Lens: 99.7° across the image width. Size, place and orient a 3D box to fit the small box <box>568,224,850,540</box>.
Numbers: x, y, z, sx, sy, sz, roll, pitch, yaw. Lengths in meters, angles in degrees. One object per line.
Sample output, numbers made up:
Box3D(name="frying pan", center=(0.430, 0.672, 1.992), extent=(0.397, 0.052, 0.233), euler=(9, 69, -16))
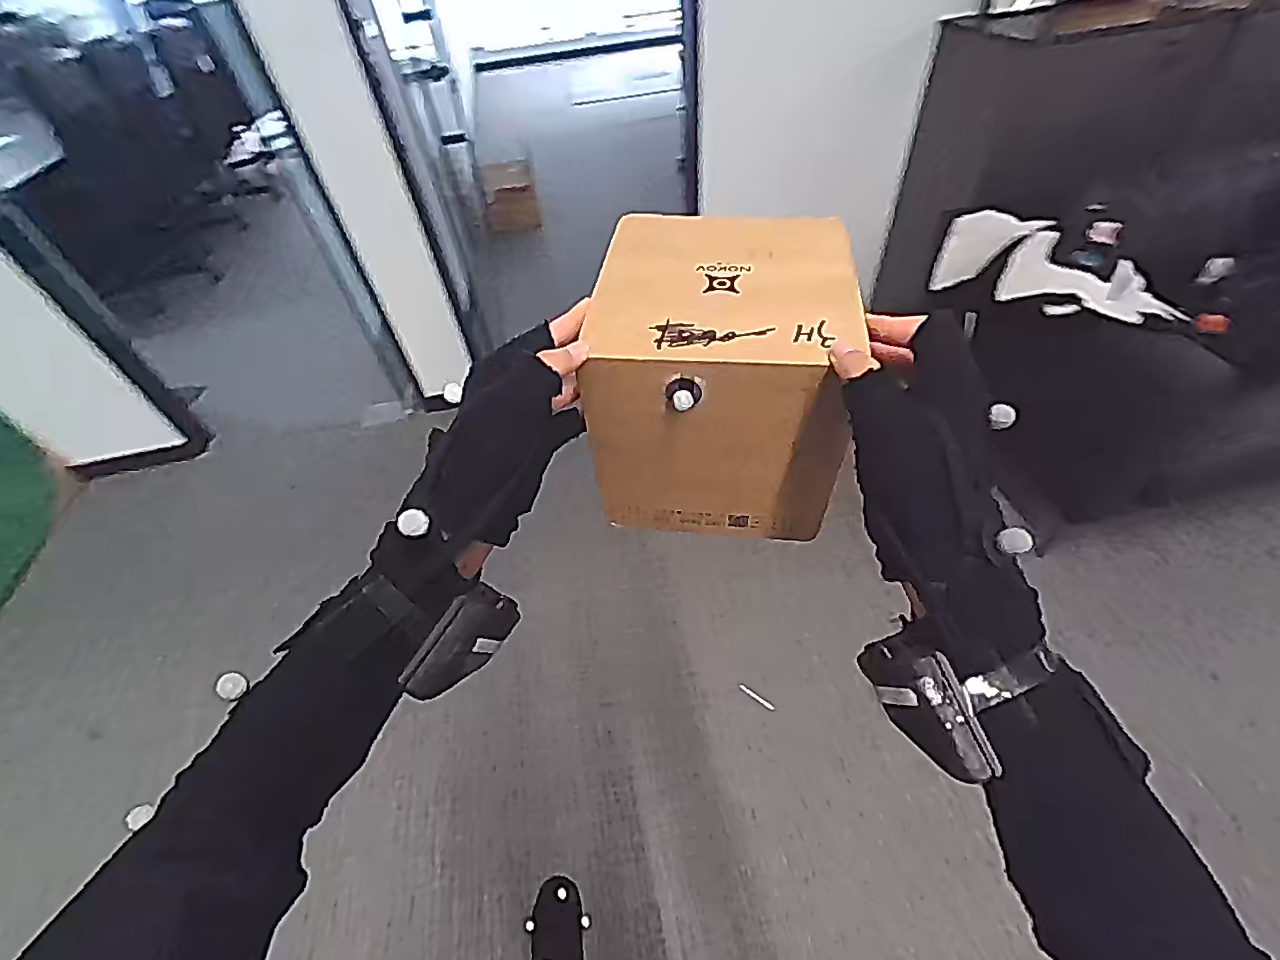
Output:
Box3D(name="small box", center=(0.053, -0.077, 0.422), extent=(0.168, 0.176, 0.179), euler=(4, 49, 8))
